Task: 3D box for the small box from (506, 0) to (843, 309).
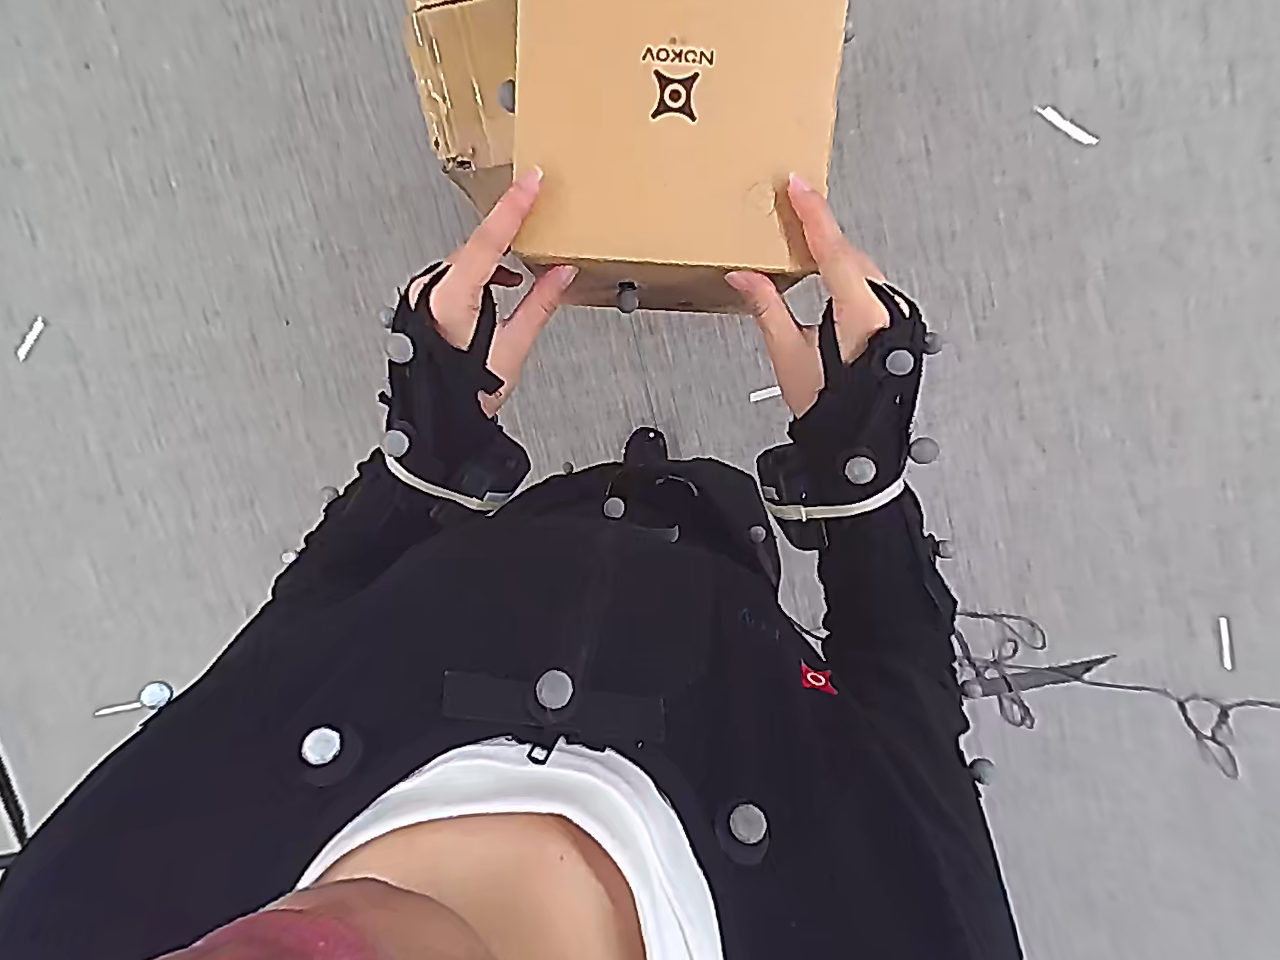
[{"bbox_3d":[0.018,-0.215,0.351,0.168,0.176,0.179,3,98,0],"label":"small box"}]
